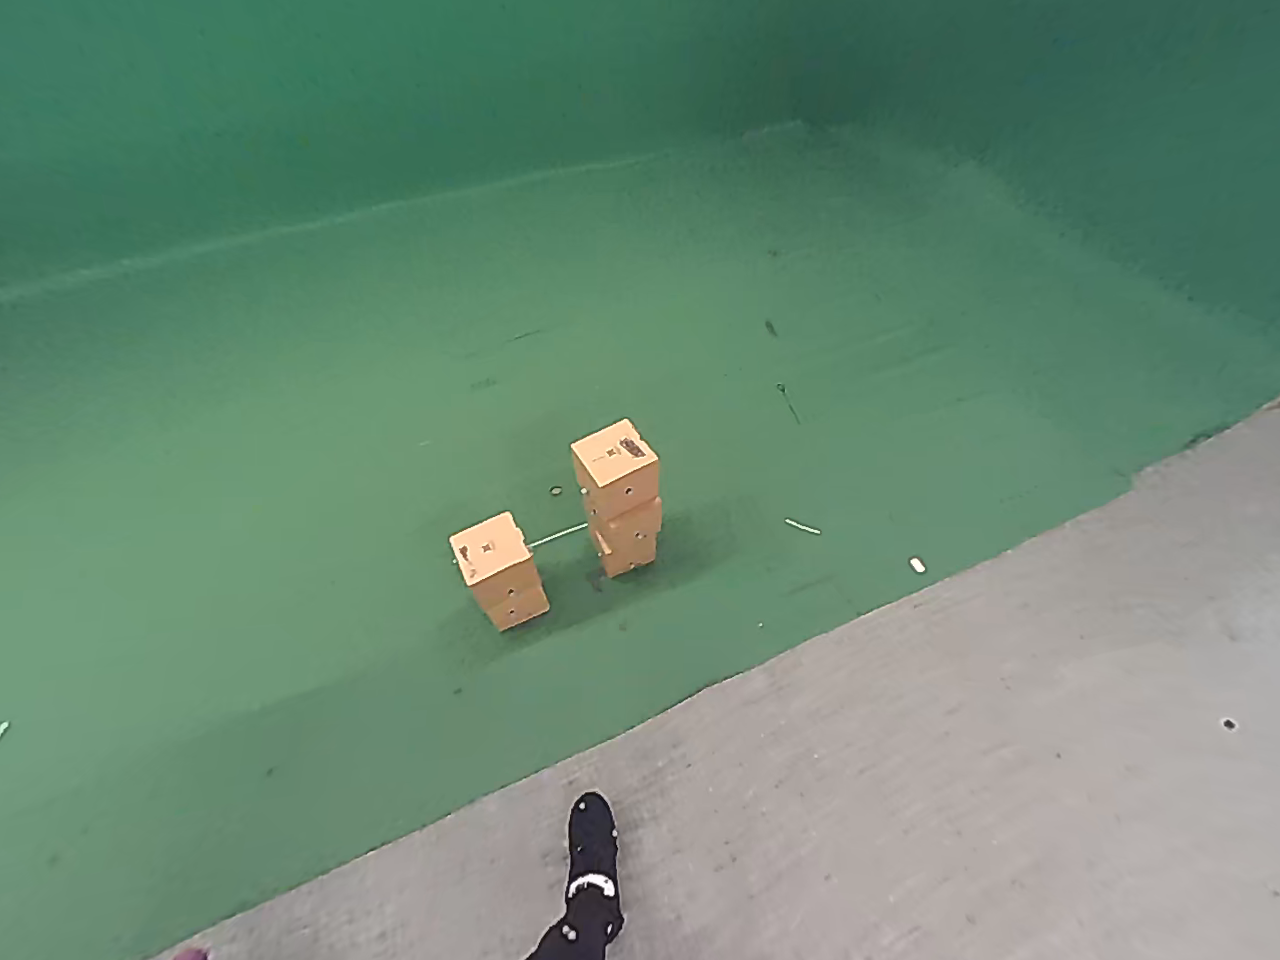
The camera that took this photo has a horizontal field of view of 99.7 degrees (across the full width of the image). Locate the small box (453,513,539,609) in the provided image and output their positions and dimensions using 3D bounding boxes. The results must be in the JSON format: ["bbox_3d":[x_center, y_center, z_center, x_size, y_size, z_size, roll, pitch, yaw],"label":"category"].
[{"bbox_3d":[-0.389,0.227,1.496,0.179,0.176,0.168,-24,56,-15],"label":"small box"}]

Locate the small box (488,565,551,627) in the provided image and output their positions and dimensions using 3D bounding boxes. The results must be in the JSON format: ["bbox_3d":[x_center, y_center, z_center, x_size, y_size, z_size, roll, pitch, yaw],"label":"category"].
[{"bbox_3d":[-0.379,0.322,1.629,0.168,0.176,0.179,-22,56,-13],"label":"small box"}]

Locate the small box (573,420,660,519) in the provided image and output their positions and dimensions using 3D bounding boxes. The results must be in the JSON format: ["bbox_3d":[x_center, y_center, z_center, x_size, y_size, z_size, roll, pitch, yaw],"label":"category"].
[{"bbox_3d":[-0.062,-0.026,1.462,0.179,0.176,0.168,-27,58,-16],"label":"small box"}]

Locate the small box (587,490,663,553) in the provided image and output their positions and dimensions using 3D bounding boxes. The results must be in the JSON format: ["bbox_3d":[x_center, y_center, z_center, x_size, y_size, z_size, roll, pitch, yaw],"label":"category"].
[{"bbox_3d":[-0.048,0.082,1.587,0.168,0.176,0.179,-29,60,-17],"label":"small box"}]
